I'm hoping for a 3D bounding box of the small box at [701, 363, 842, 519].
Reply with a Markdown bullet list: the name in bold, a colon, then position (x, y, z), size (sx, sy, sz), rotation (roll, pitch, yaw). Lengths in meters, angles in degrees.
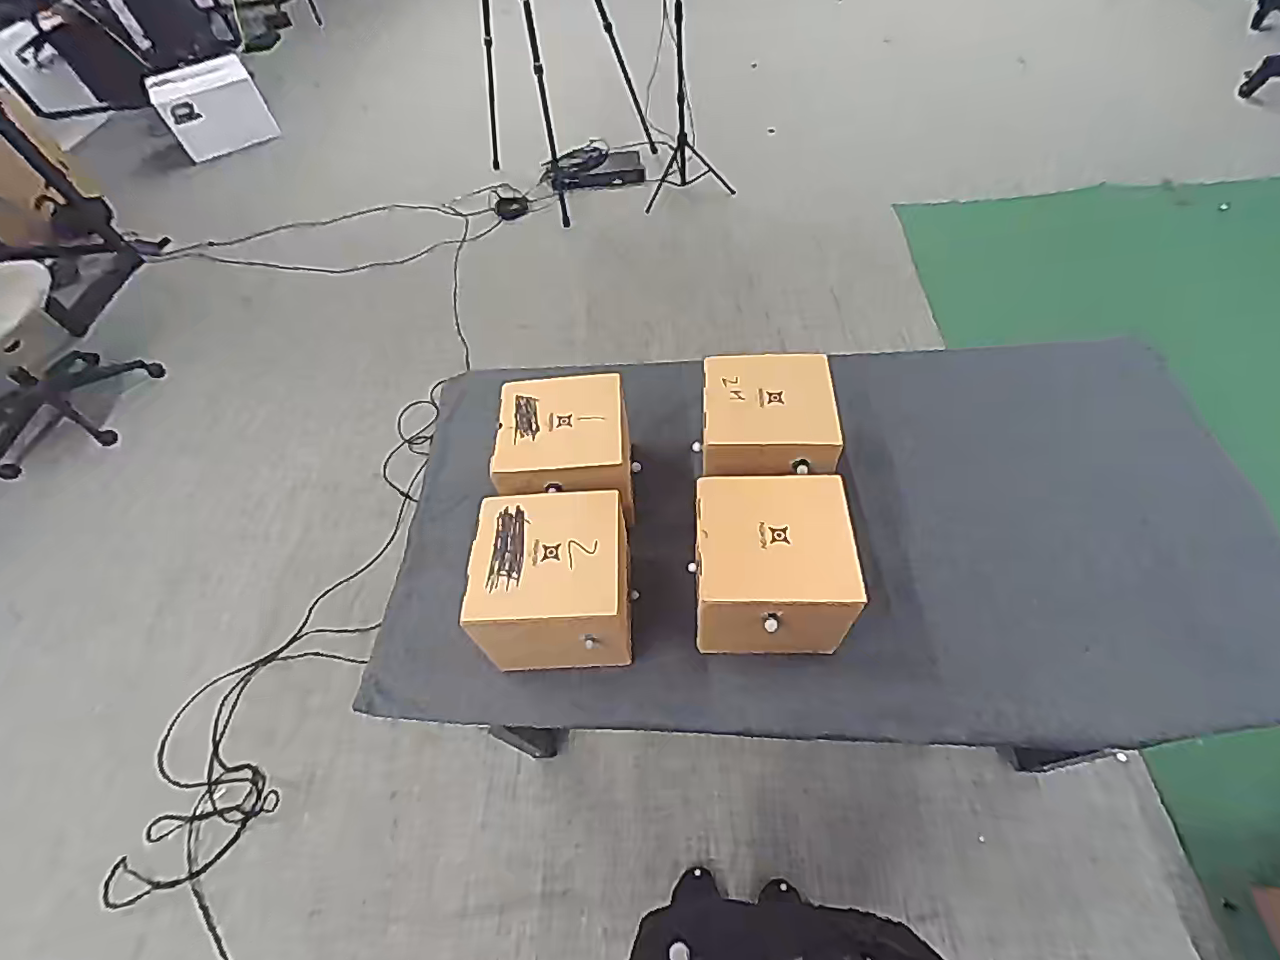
- **small box**: position (0.181, -0.054, 0.796), size (0.179, 0.176, 0.168), rotation (0, 55, 7)
